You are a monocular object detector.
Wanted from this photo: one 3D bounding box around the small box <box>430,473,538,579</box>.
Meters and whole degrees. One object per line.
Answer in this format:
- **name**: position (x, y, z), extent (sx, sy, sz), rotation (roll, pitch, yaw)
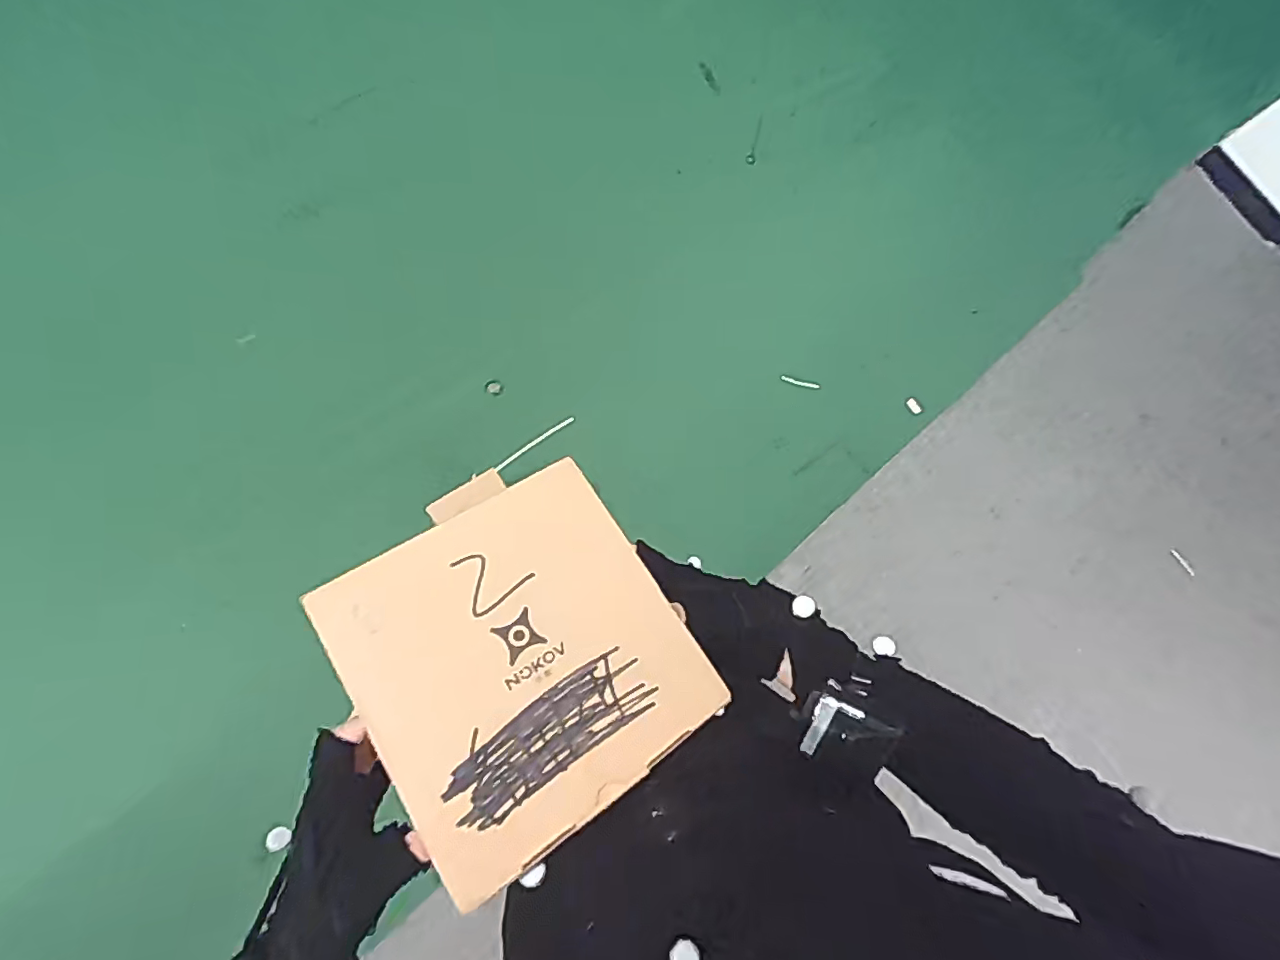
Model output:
- **small box**: position (-0.349, 0.110, 1.236), extent (0.168, 0.176, 0.179), rotation (-34, 87, -17)
